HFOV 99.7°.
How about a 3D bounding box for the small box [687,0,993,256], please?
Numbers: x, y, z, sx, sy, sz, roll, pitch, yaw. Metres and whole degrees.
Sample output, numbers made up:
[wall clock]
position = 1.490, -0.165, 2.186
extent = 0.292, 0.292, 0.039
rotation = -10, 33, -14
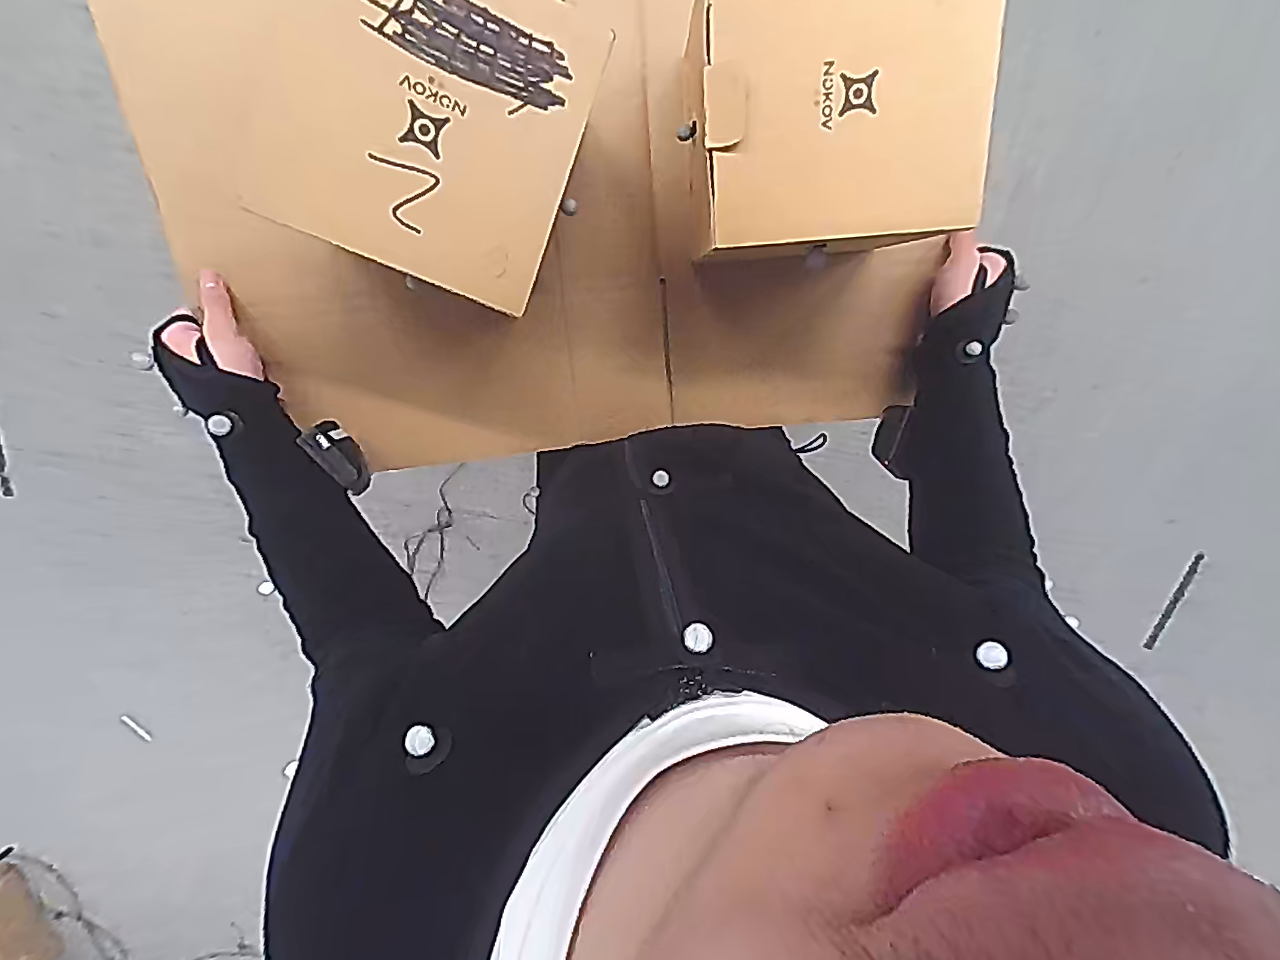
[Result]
[small box]
position = 0.132, -0.271, 0.420
extent = 0.179, 0.176, 0.168
rotation = -4, 110, 3
